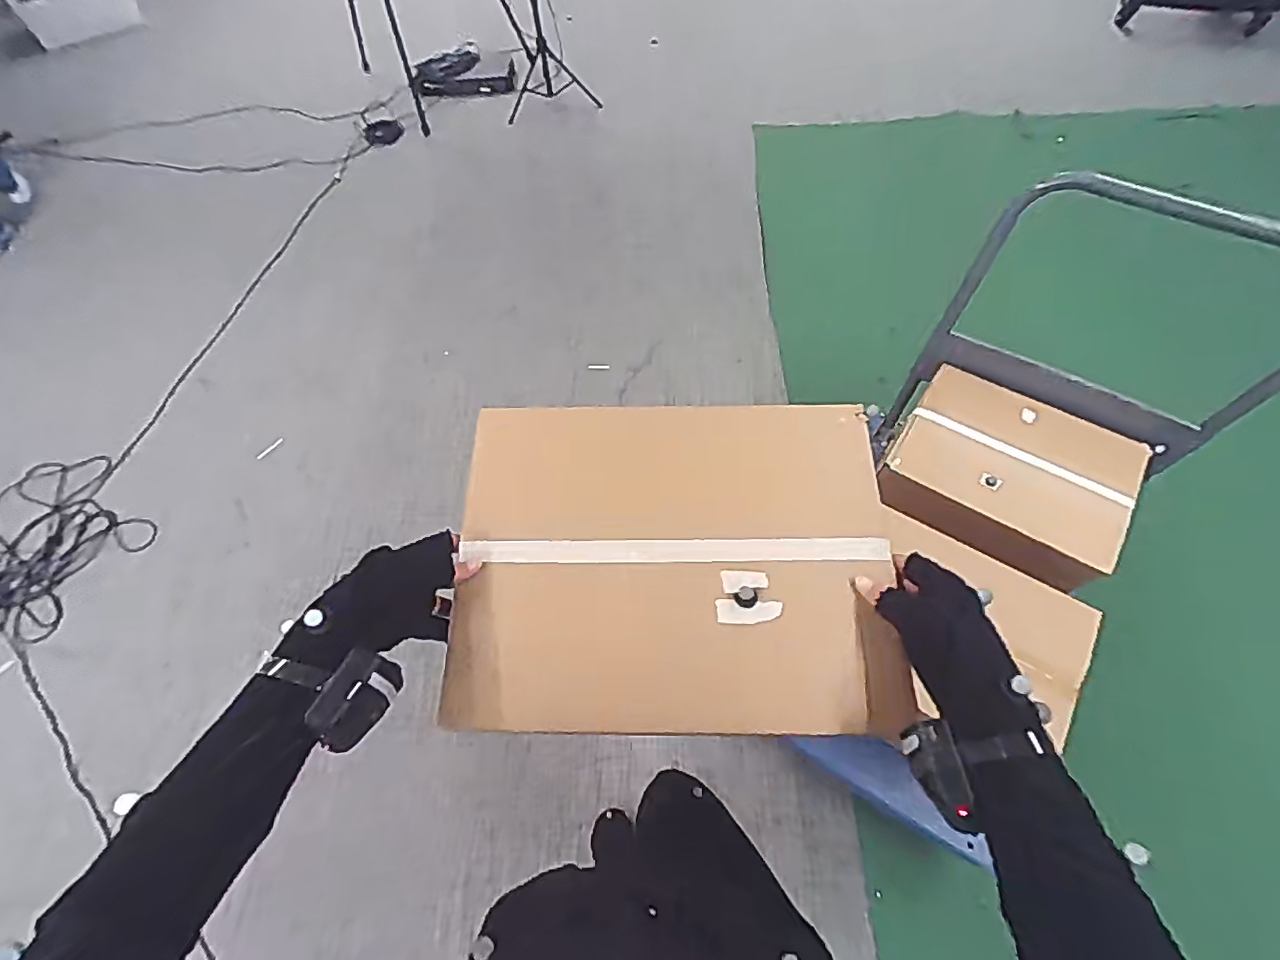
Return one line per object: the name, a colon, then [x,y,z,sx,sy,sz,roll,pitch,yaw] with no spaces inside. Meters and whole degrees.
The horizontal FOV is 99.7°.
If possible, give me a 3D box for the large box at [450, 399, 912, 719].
large box: [0.035,0.117,0.653,0.408,0.320,0.320,0,67,2]
